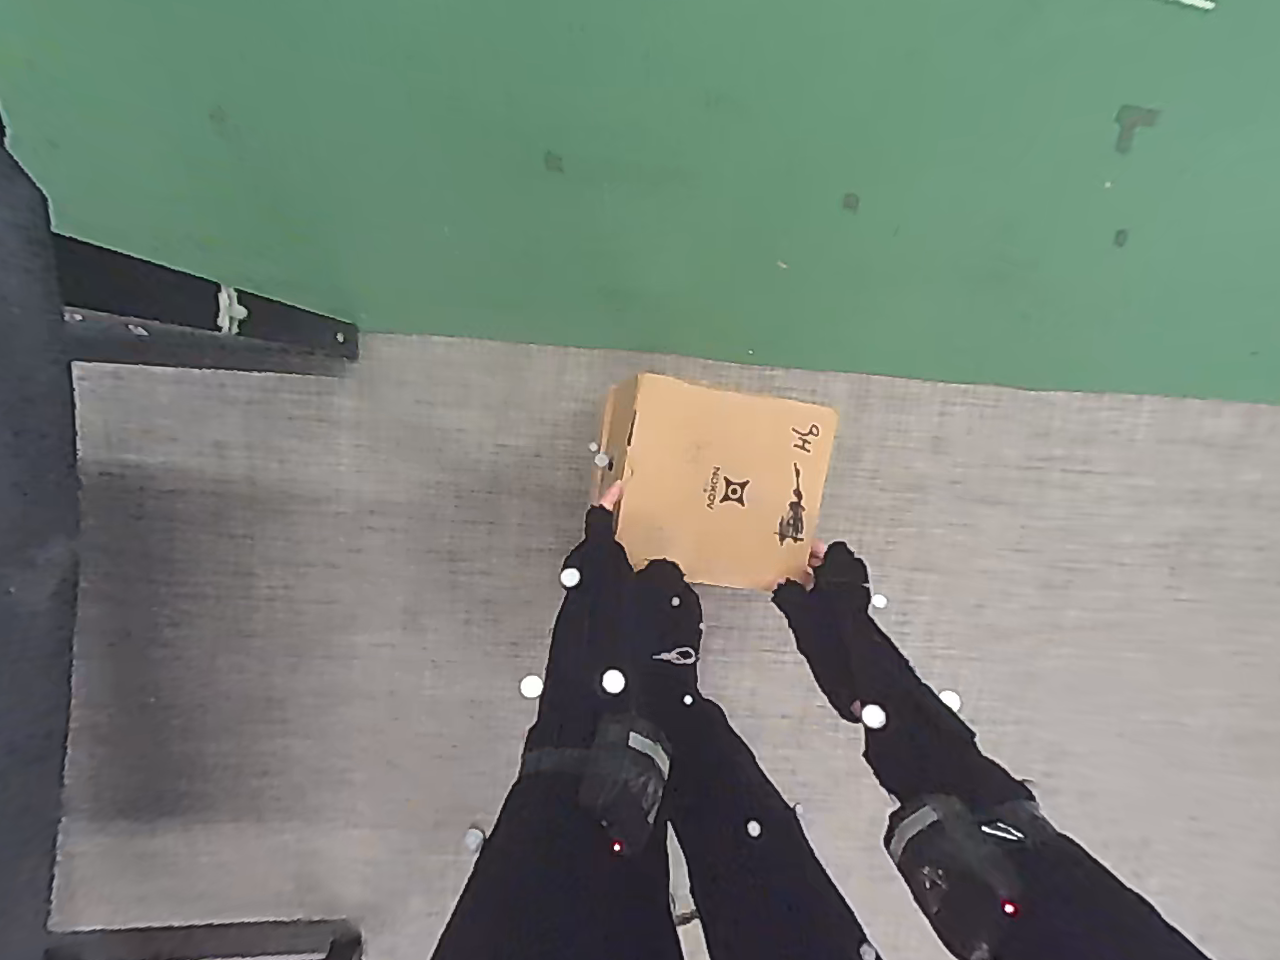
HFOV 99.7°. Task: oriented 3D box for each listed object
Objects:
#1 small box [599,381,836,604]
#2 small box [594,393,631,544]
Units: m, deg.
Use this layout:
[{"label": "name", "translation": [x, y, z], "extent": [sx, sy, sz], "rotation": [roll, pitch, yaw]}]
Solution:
[{"label": "small box", "translation": [0.059, 0.006, 0.532], "extent": [0.179, 0.176, 0.168], "rotation": [10, 95, -8]}, {"label": "small box", "translation": [0.033, -0.011, 0.698], "extent": [0.168, 0.176, 0.179], "rotation": [8, 97, -4]}]
